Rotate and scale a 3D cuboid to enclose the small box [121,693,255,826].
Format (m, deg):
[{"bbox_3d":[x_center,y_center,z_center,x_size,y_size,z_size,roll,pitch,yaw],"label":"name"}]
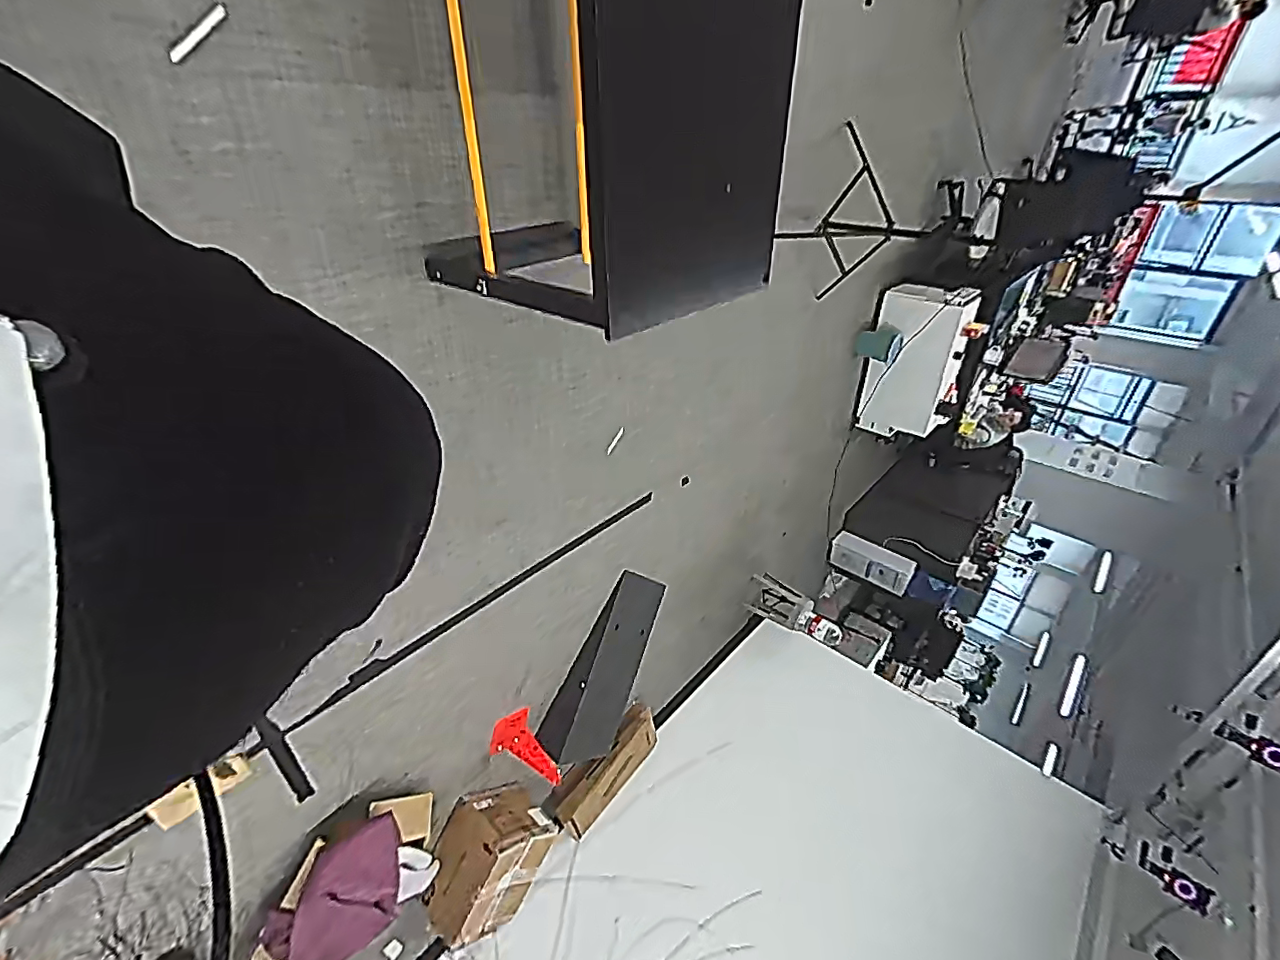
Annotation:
[{"bbox_3d":[-1.038,0.633,1.246,0.179,0.176,0.168,-30,133,-38],"label":"small box"}]
